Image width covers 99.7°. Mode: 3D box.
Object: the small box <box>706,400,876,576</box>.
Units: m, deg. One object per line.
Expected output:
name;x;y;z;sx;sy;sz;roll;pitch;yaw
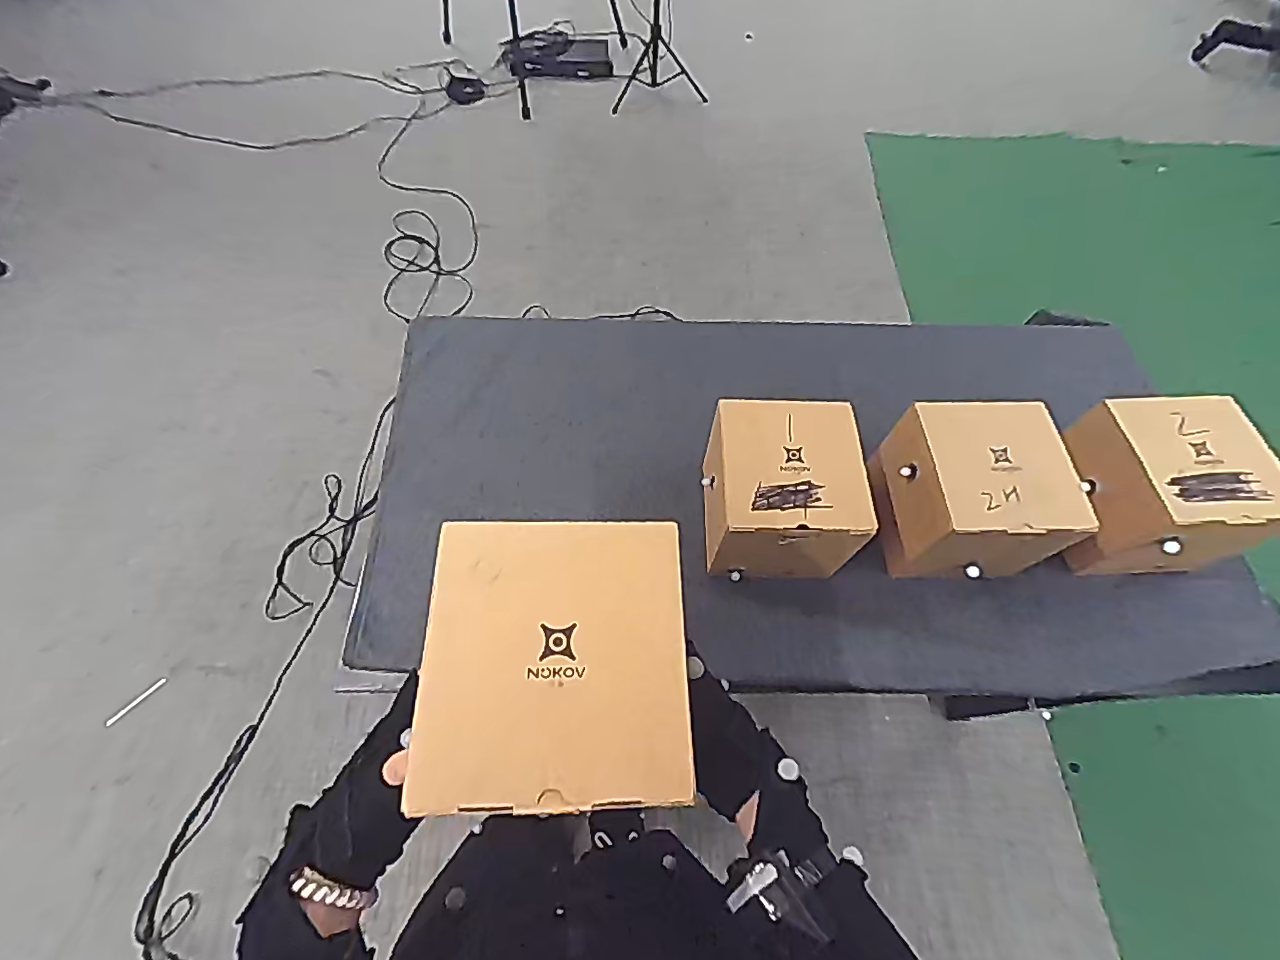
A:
small box;0.178;0.018;0.696;0.168;0.176;0.179;2;61;-1

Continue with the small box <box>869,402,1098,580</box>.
small box;0.420;0.018;0.701;0.168;0.176;0.179;0;62;-1

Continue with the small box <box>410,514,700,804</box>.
small box;-0.055;0.138;0.412;0.168;0.176;0.179;1;64;-5
